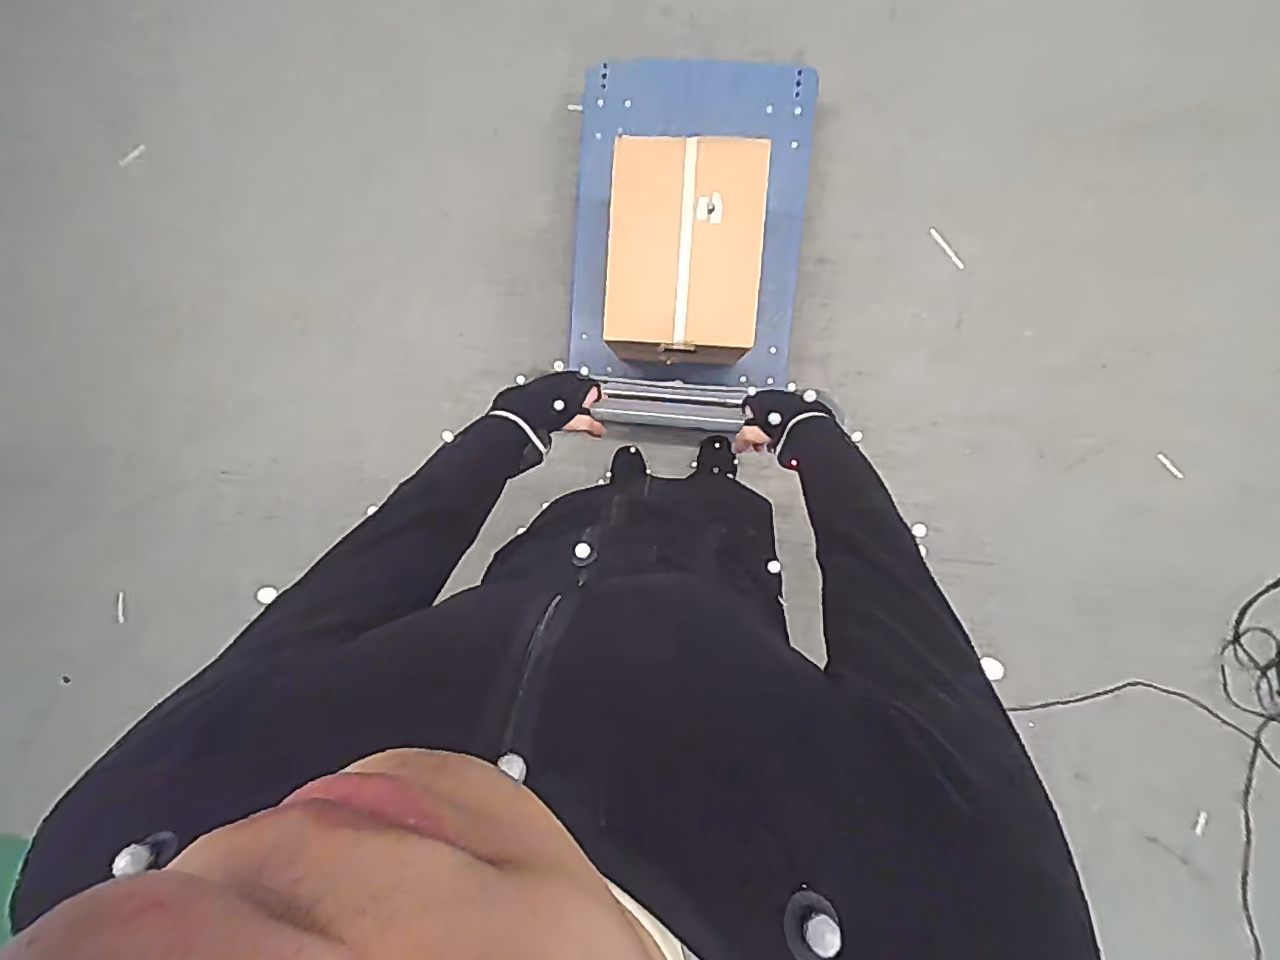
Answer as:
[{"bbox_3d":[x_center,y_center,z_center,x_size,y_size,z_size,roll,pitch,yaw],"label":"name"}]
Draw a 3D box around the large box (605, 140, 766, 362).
[{"bbox_3d":[0.101,-0.494,1.248,0.320,0.320,0.408,4,96,3],"label":"large box"}]
